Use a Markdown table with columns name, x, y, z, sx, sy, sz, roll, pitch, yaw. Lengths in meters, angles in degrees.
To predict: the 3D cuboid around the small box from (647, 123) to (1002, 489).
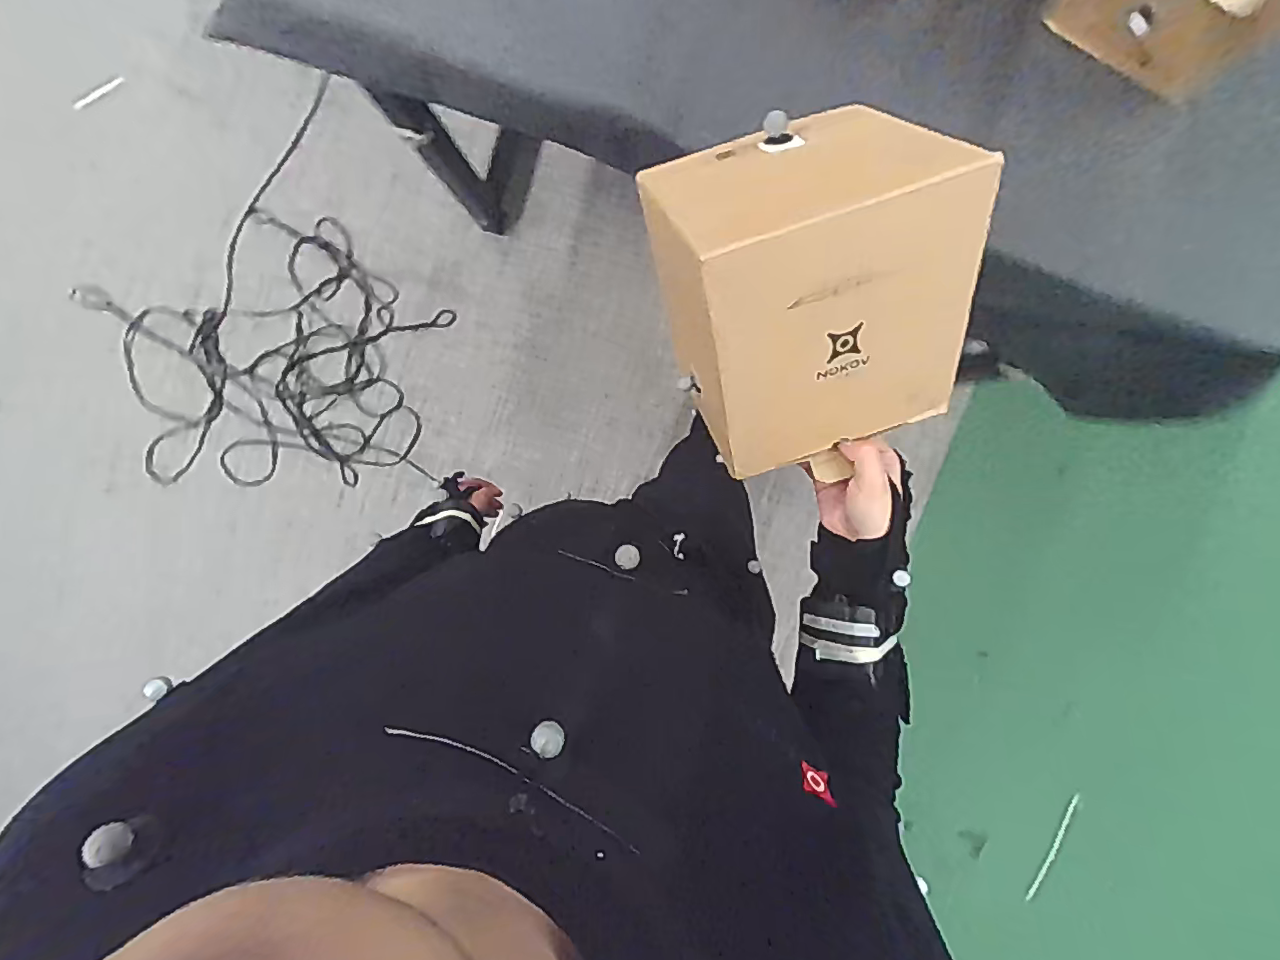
| name | x | y | z | sx | sy | sz | roll | pitch | yaw |
| --- | --- | --- | --- | --- | --- | --- | --- | --- | --- |
| small box | 0.115 | -0.129 | 0.398 | 0.168 | 0.176 | 0.179 | -19 | 133 | 0 |

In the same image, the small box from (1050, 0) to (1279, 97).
| name | x | y | z | sx | sy | sz | roll | pitch | yaw |
| --- | --- | --- | --- | --- | --- | --- | --- | --- | --- |
| small box | 0.530 | -0.509 | 0.486 | 0.168 | 0.176 | 0.179 | 29 | 95 | -2 |
